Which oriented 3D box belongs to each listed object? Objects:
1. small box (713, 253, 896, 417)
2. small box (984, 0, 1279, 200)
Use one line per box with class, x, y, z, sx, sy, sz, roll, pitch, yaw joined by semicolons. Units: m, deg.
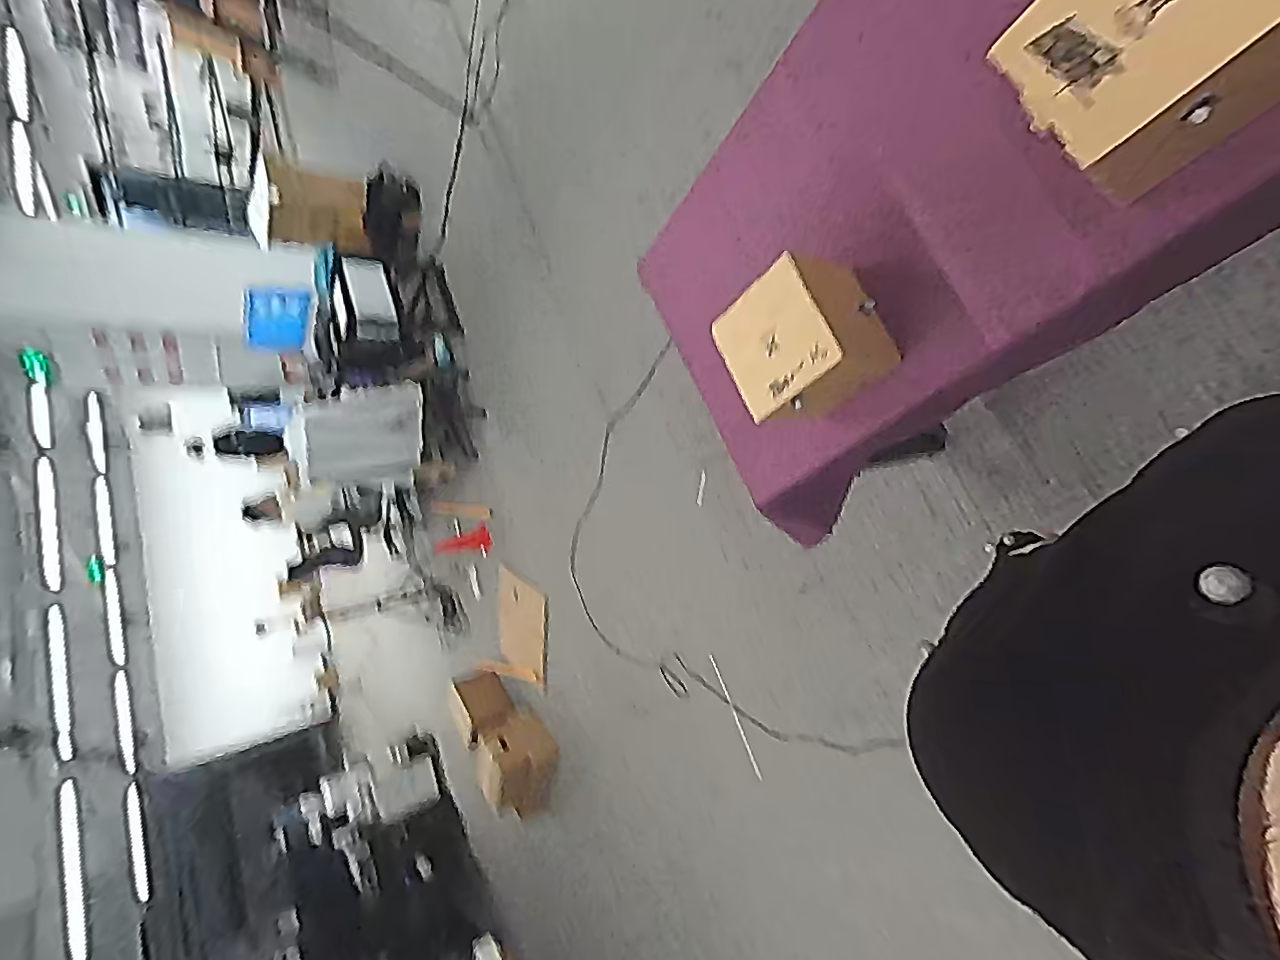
small box;0.249;-0.210;0.826;0.168;0.176;0.179;-39;66;47
small box;0.480;-0.401;0.509;0.179;0.176;0.168;-40;66;46
